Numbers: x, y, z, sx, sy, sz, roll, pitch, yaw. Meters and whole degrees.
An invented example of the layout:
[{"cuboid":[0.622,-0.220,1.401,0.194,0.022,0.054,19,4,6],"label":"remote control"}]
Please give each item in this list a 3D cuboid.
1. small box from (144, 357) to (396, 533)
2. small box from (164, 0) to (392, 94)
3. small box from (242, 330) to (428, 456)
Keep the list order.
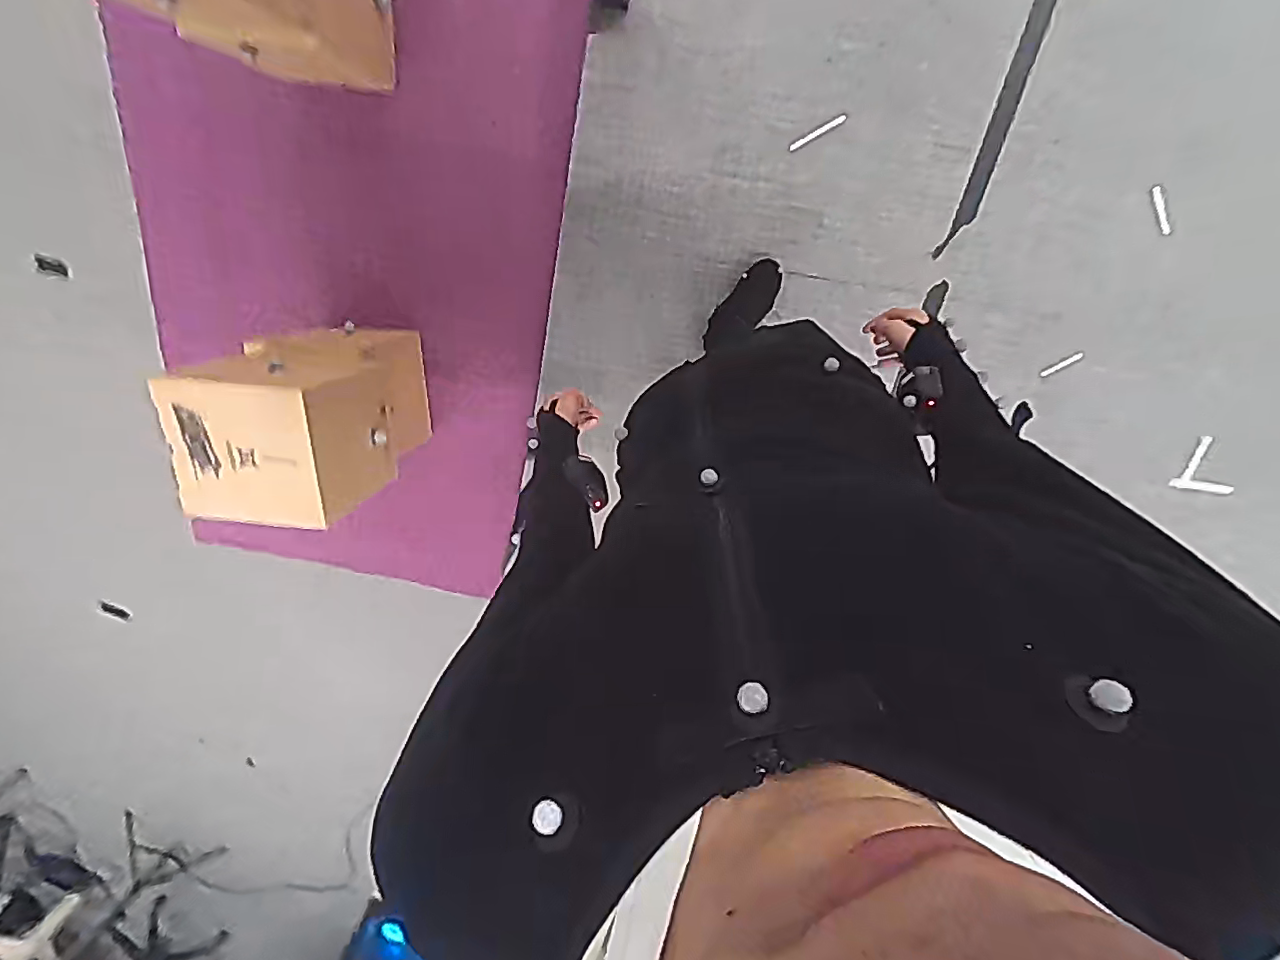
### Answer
[{"cuboid":[-0.429,-0.052,0.660,0.179,0.176,0.168,5,113,3],"label":"small box"},{"cuboid":[-0.409,-0.581,0.624,0.168,0.176,0.179,8,112,3],"label":"small box"},{"cuboid":[-0.437,-0.123,0.810,0.168,0.176,0.179,3,112,5],"label":"small box"}]
